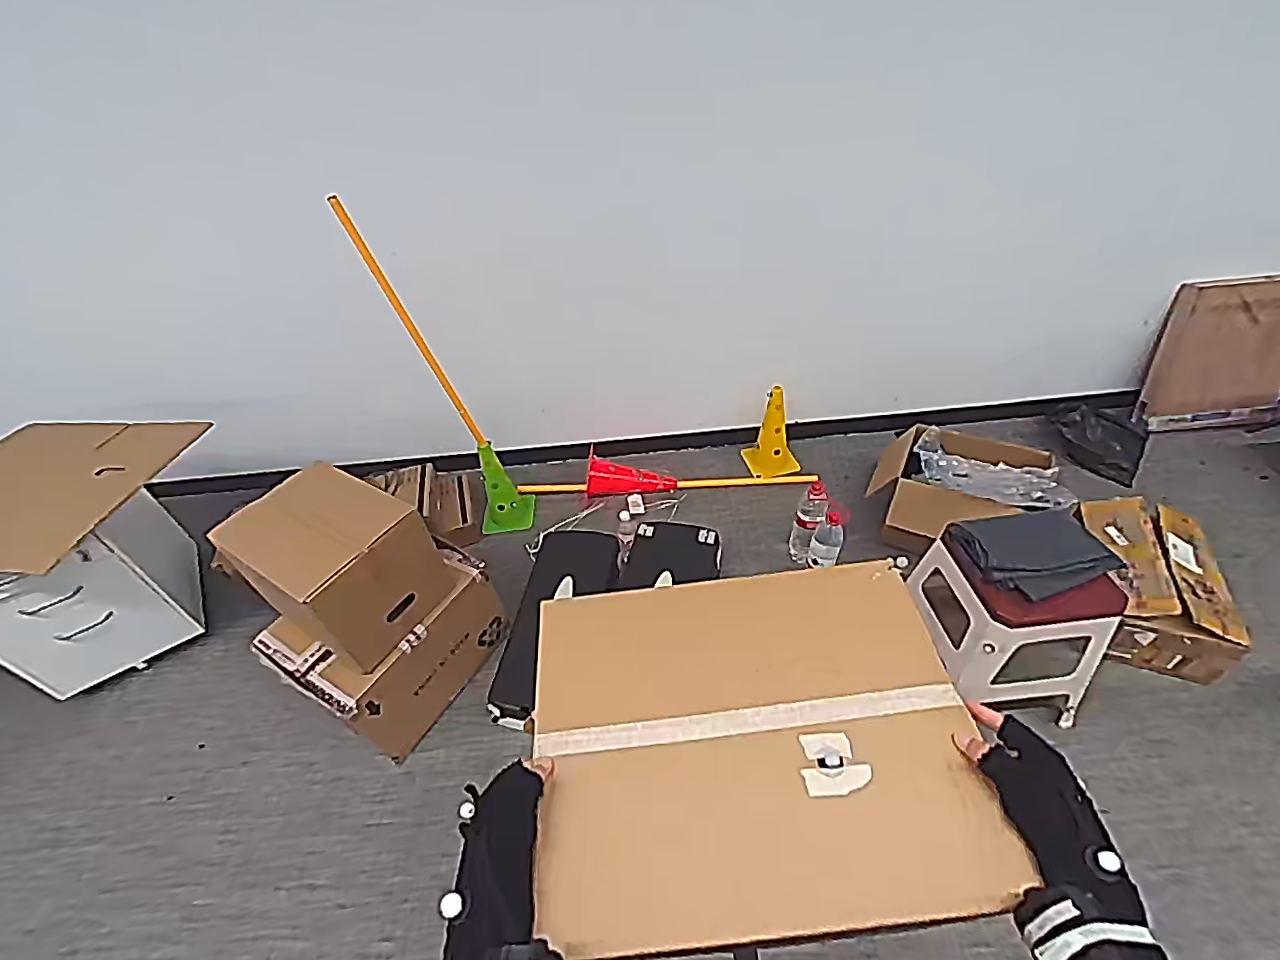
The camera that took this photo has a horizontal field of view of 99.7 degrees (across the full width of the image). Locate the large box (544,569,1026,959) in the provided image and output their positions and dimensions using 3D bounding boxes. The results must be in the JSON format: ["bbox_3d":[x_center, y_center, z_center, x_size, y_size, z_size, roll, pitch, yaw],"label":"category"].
[{"bbox_3d":[0.114,0.342,0.642,0.408,0.320,0.320,-7,48,0],"label":"large box"}]
